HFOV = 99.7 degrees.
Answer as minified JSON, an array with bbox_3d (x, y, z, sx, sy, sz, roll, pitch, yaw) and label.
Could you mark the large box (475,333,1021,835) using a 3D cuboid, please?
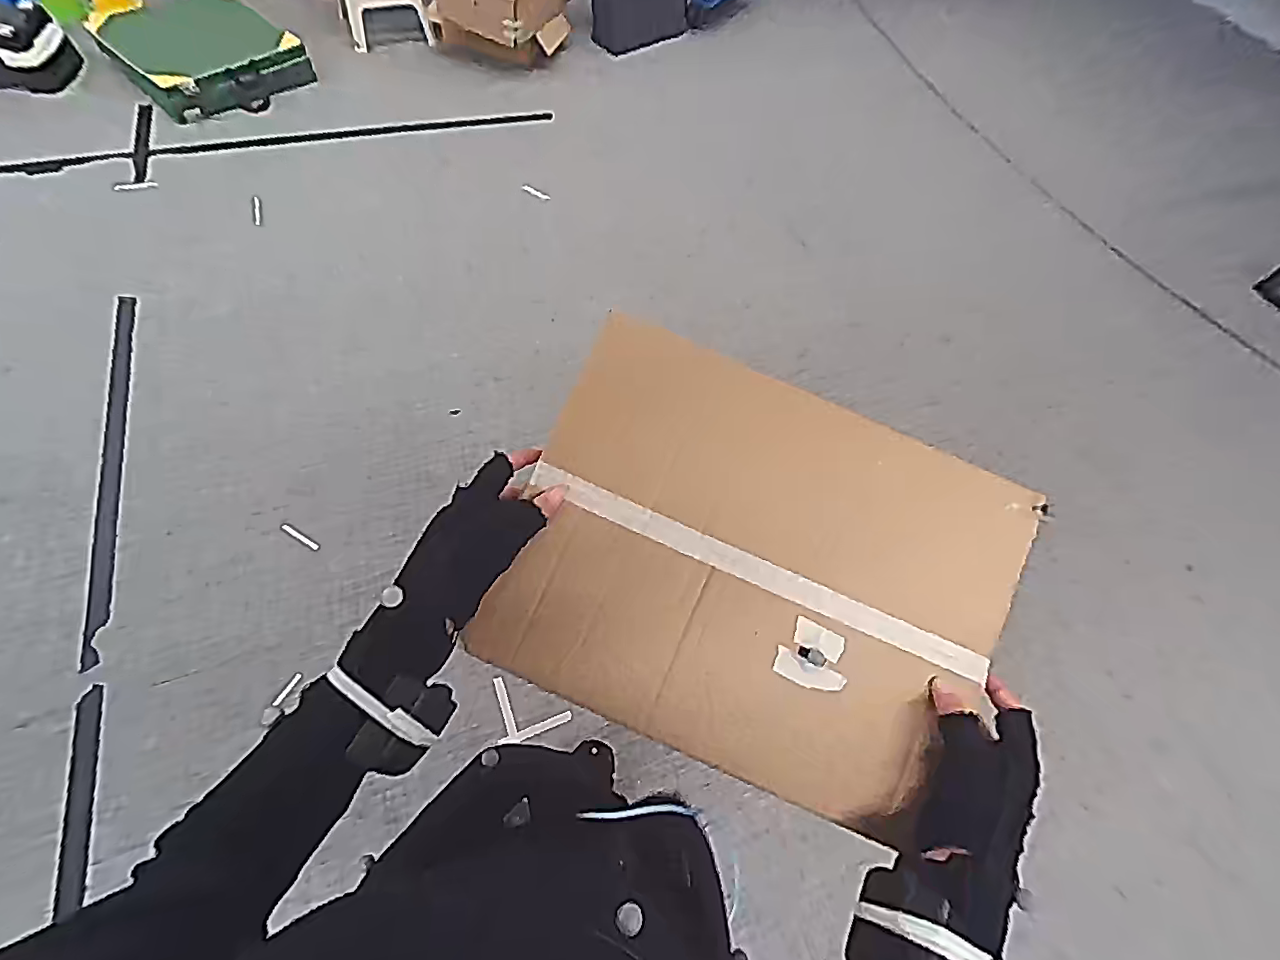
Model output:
[{"bbox_3d":[0.094,0.096,0.615,0.408,0.320,0.320,24,85,1],"label":"large box"}]
